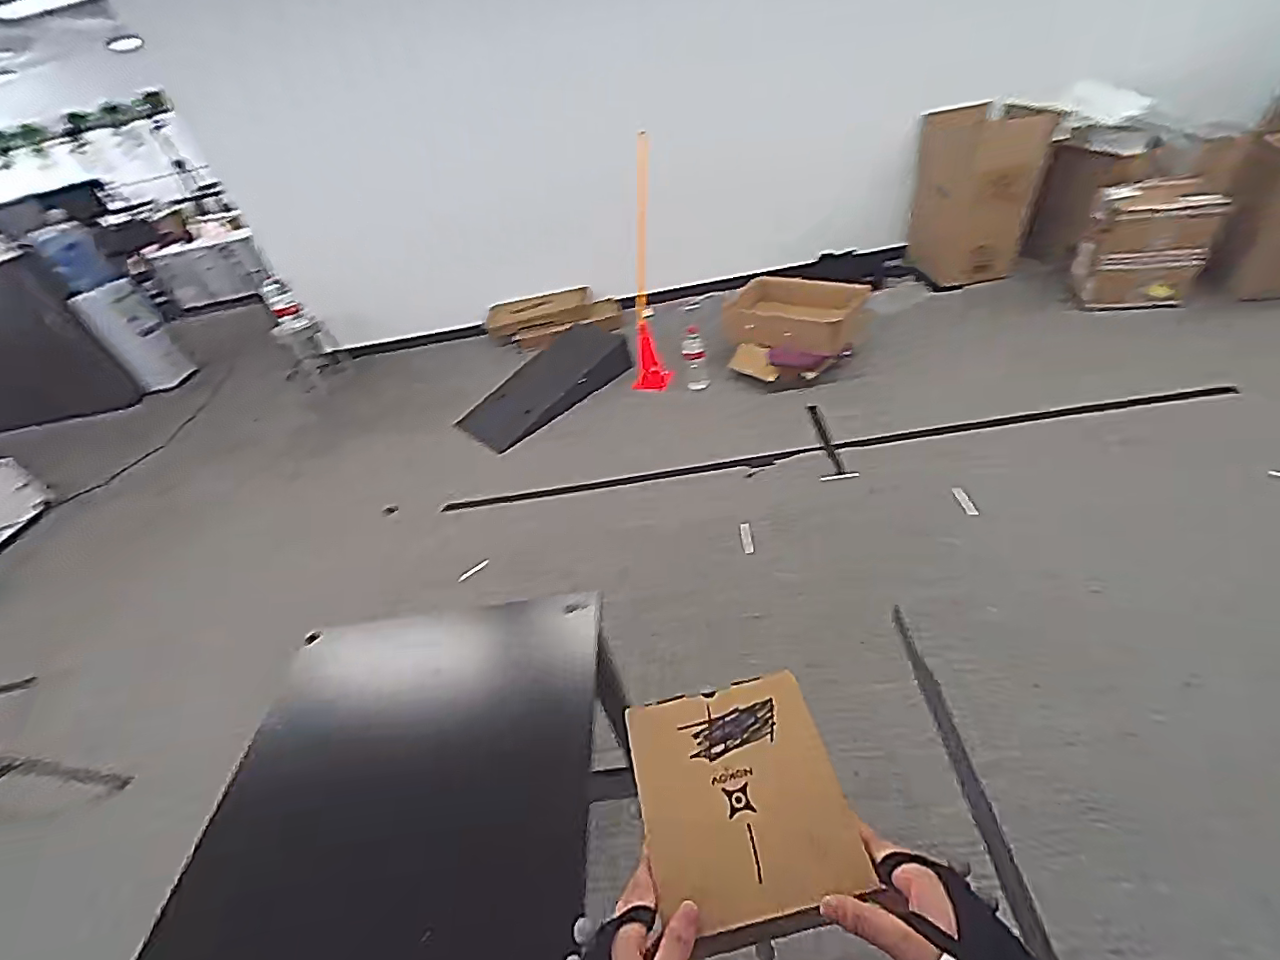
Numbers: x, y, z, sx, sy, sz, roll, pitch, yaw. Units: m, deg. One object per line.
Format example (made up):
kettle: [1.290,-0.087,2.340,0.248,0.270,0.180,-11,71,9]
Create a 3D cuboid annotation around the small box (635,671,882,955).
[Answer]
small box: [0.095,0.314,0.512,0.168,0.176,0.179,-12,45,-2]
